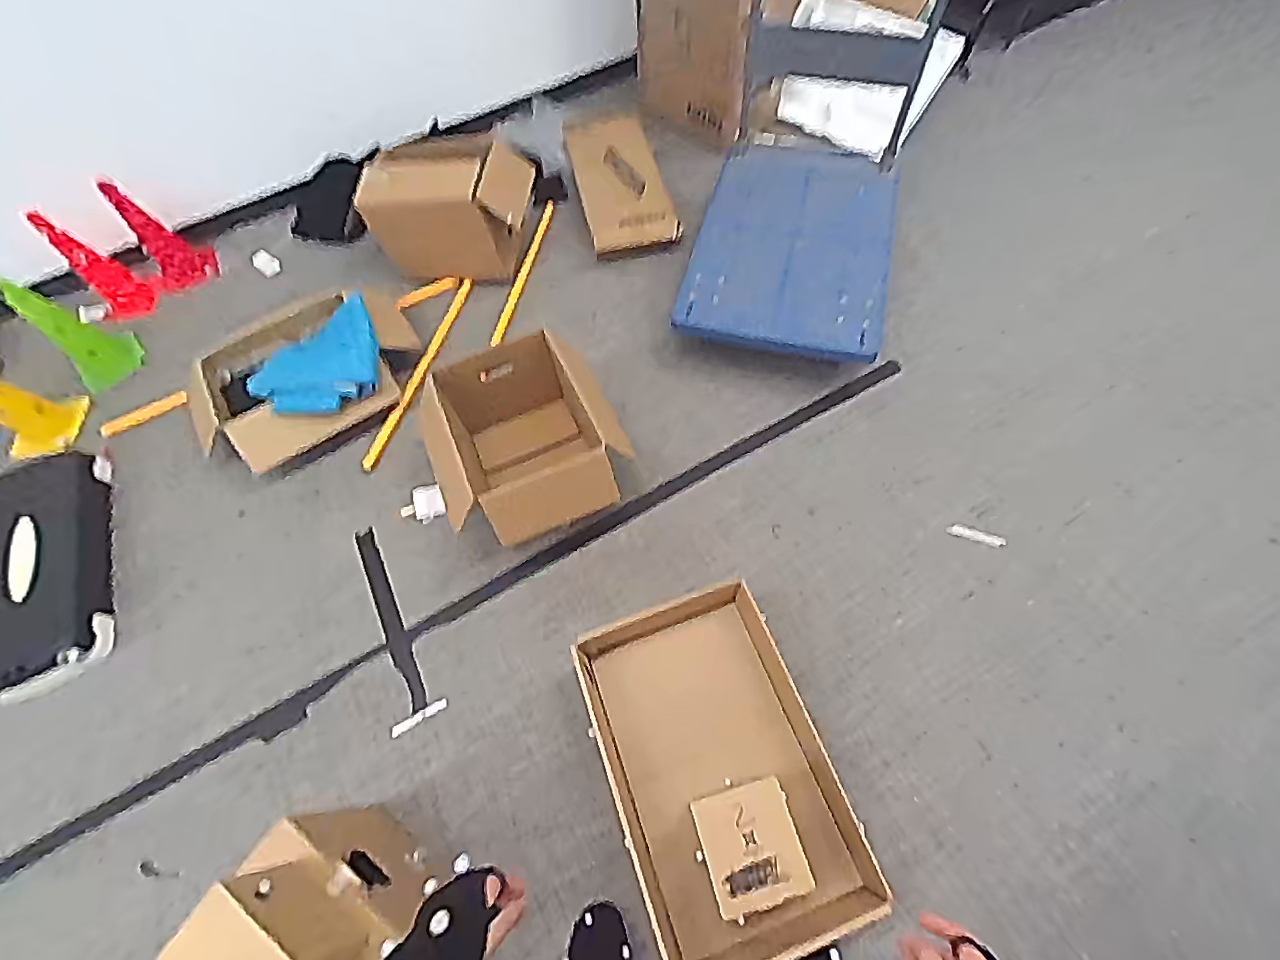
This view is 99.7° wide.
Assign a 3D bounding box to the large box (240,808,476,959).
[{"bbox_3d":[-0.562,0.858,0.924,0.320,0.320,0.408,28,68,19],"label":"large box"}]

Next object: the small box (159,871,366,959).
[{"bbox_3d":[-0.526,0.675,0.739,0.179,0.176,0.168,28,69,17],"label":"small box"}]
